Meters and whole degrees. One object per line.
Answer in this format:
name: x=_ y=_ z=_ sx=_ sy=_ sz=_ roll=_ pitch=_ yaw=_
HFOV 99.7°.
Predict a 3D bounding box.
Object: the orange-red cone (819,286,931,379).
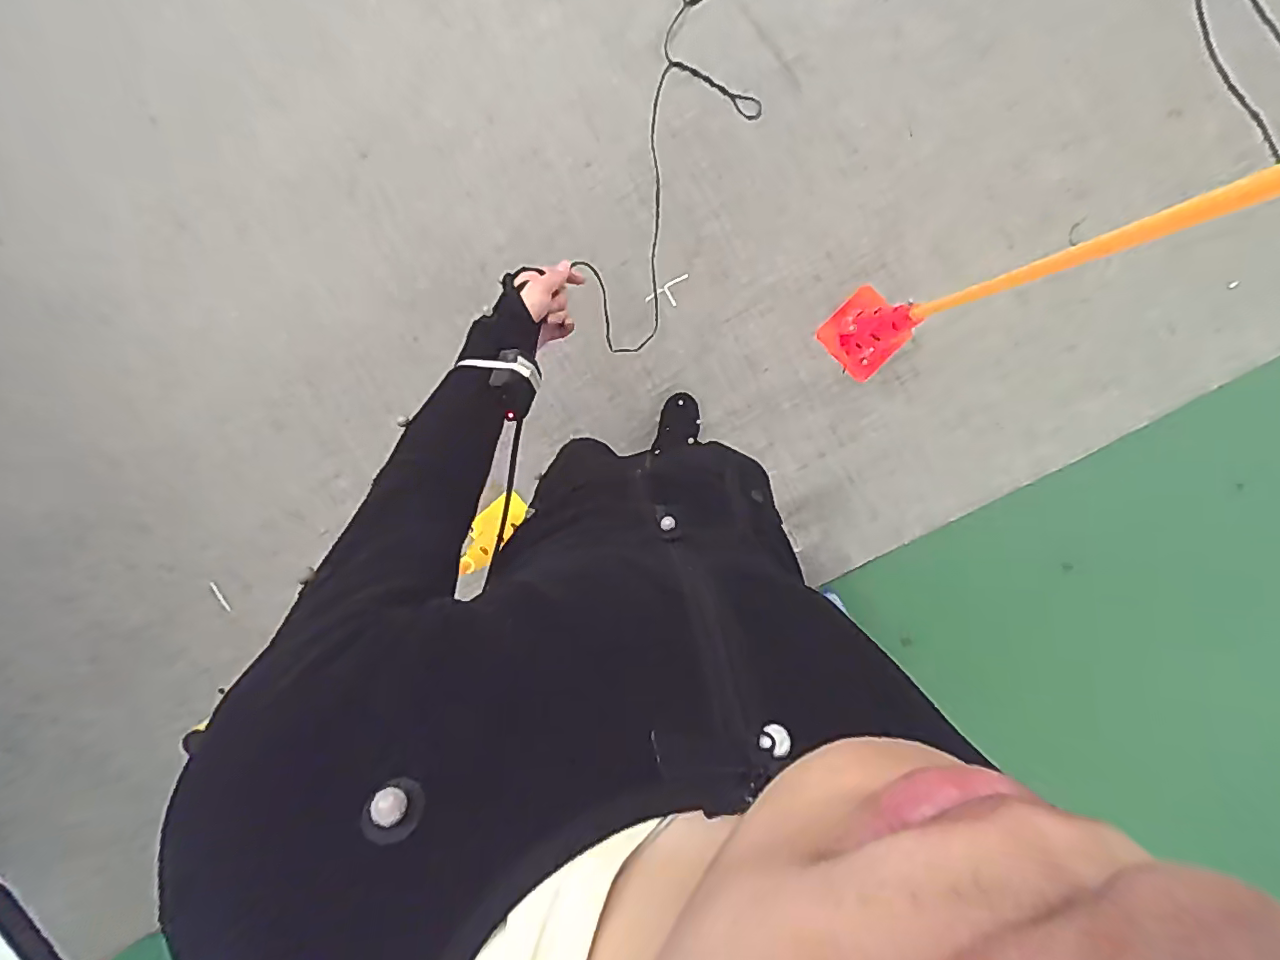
orange-red cone: x=0.616 y=-0.386 z=1.331 sx=0.199 sy=0.360 sz=0.198 roll=-44 pitch=94 yaw=7
